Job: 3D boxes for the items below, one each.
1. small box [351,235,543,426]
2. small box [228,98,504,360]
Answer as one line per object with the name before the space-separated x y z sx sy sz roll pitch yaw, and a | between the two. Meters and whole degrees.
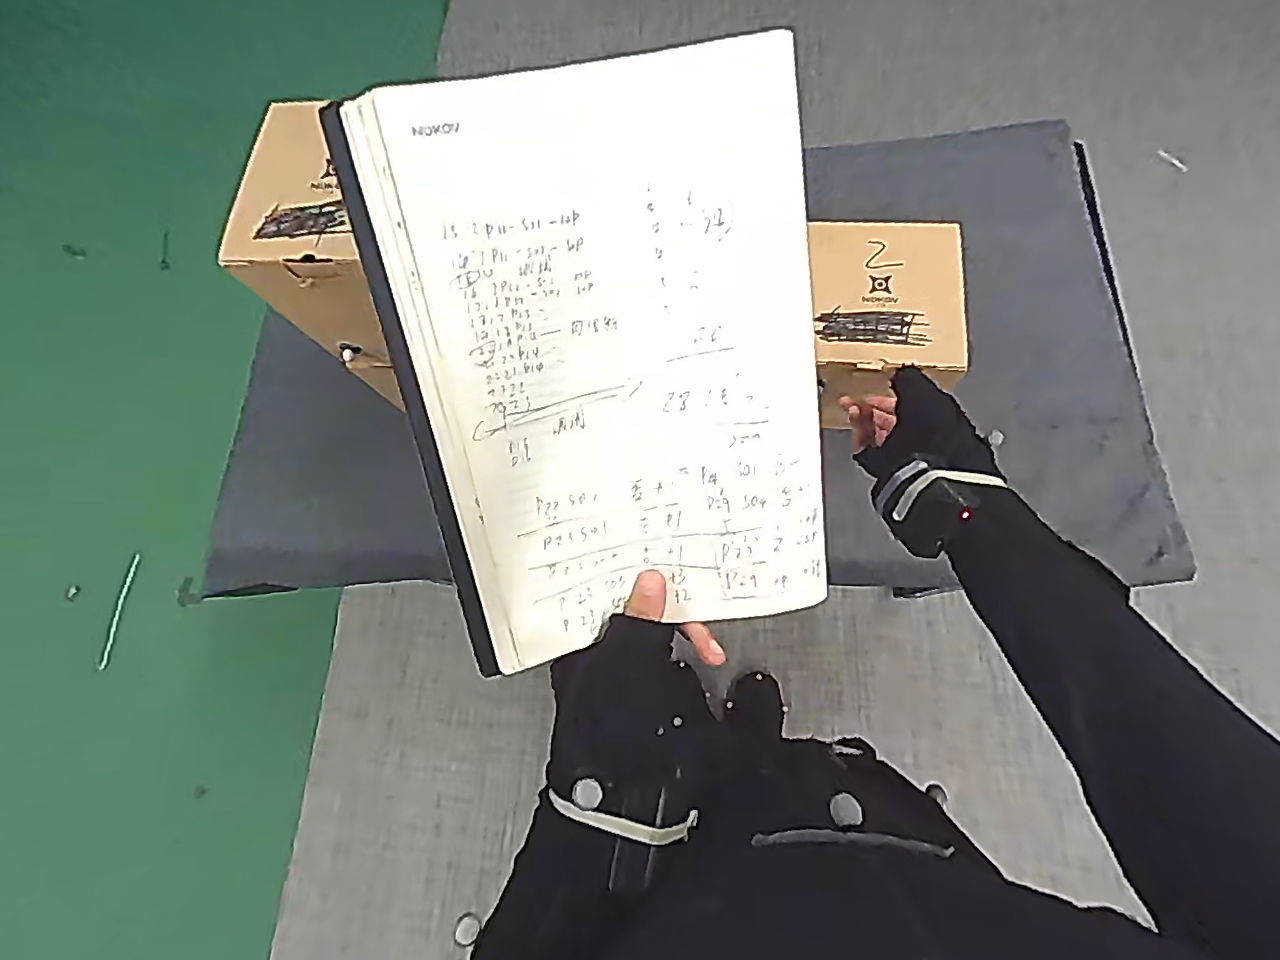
small box | -0.230 -0.185 0.695 0.168 0.176 0.179 1 73 7
small box | -0.249 -0.235 0.541 0.168 0.176 0.179 3 73 7
